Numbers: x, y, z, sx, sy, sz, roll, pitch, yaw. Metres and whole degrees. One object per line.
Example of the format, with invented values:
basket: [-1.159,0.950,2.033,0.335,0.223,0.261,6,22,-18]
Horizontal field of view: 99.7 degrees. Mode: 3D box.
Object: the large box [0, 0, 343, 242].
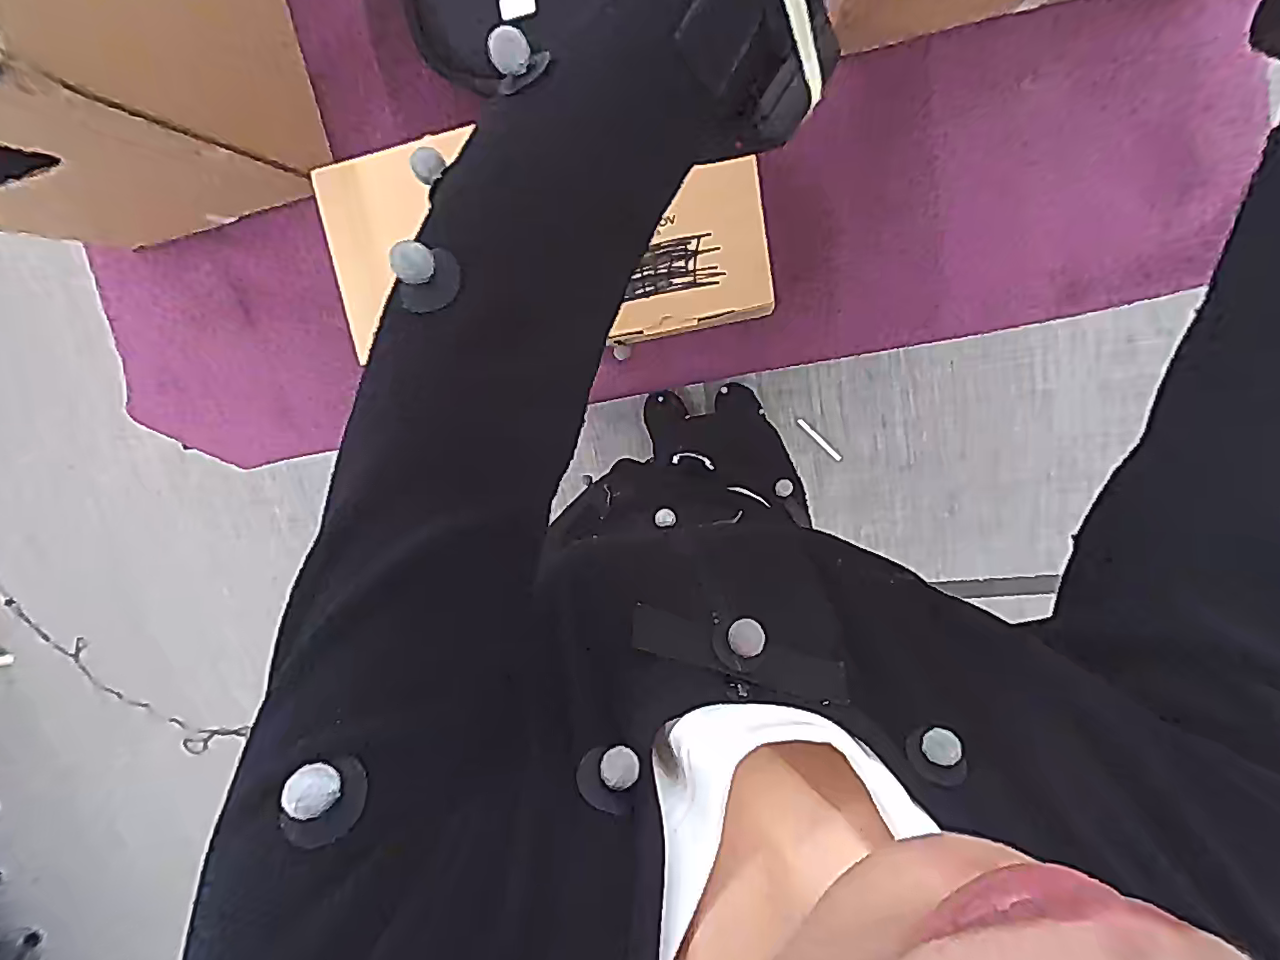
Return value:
large box: [-0.547,-0.468,0.465,0.320,0.320,0.408,-9,105,12]
